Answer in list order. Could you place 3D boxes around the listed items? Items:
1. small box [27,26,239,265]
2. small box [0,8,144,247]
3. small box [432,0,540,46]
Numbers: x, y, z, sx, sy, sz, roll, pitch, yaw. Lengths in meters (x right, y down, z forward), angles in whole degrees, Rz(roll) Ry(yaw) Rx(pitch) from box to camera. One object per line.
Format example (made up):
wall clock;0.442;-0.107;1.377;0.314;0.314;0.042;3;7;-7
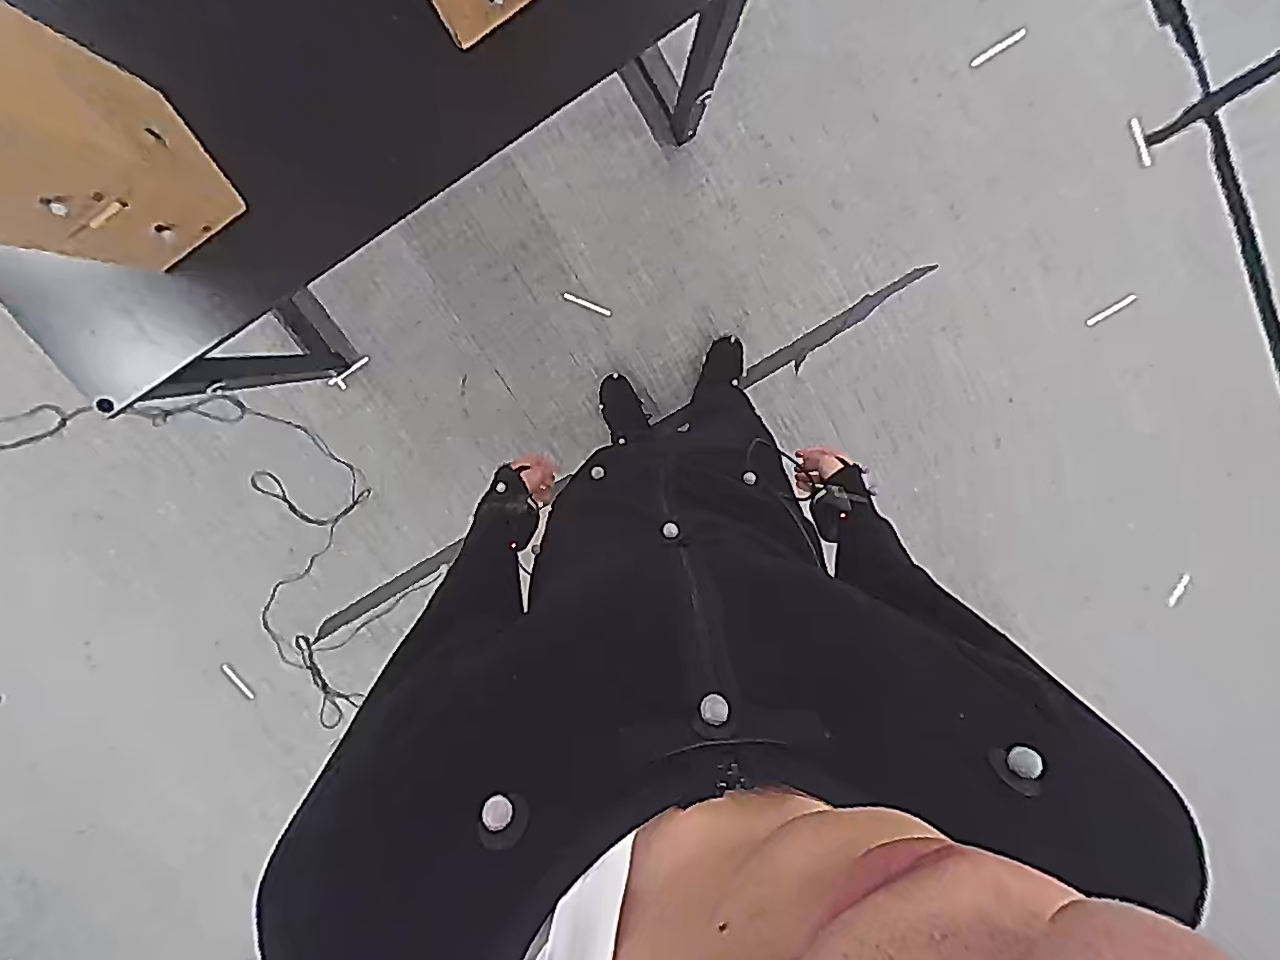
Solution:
small box;-0.664;-0.389;0.674;0.168;0.176;0.179;-33;103;4
small box;-0.656;-0.353;0.513;0.168;0.176;0.179;-32;103;5
small box;-0.213;-0.676;0.632;0.168;0.176;0.179;-33;103;5
